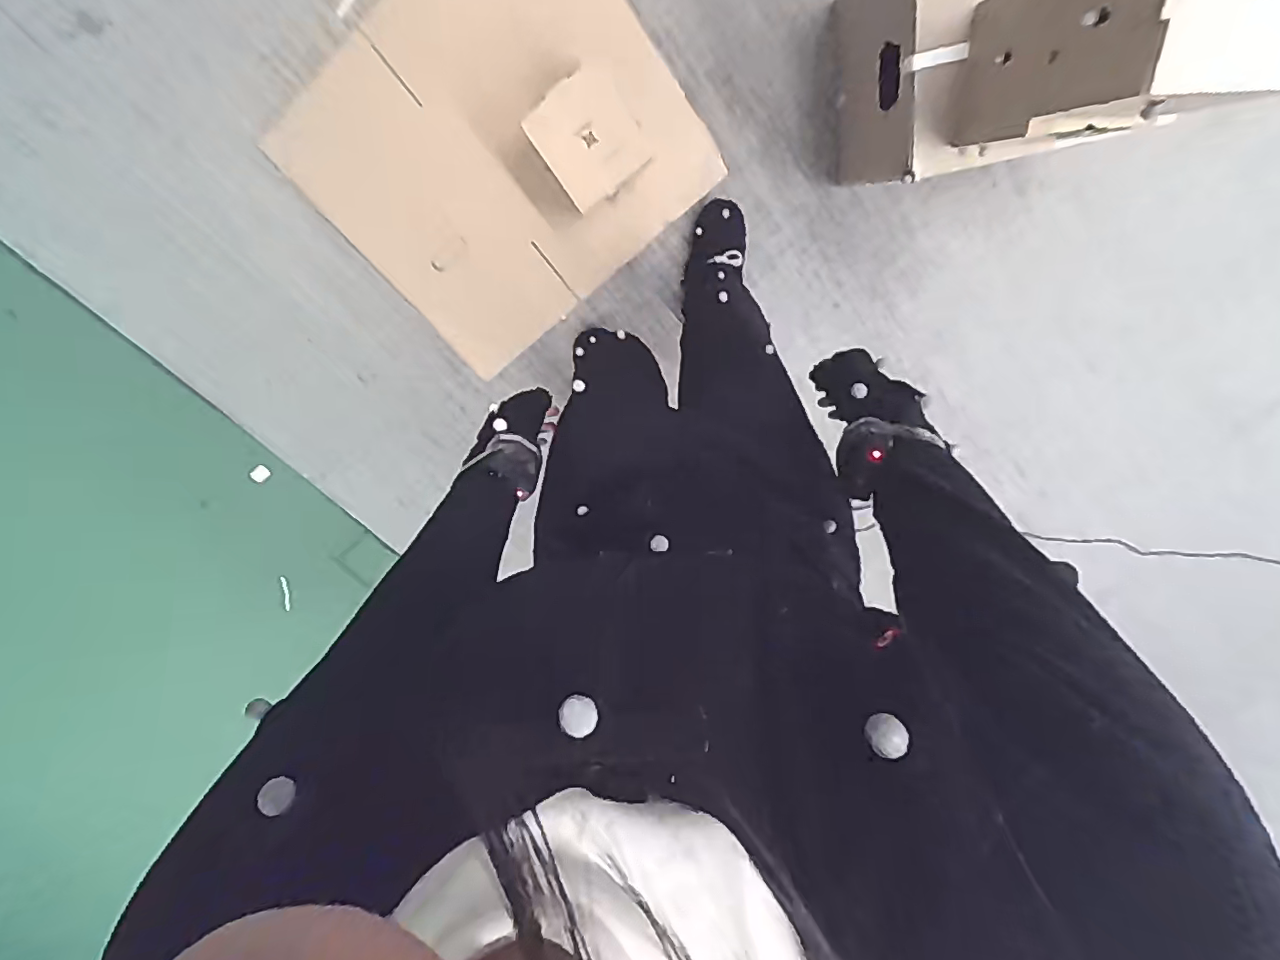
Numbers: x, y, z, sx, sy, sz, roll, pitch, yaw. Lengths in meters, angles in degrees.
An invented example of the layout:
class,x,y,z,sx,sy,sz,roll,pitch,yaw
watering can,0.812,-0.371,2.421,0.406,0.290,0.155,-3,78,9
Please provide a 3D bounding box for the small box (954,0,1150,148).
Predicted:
class,x,y,z,sx,sy,sz,roll,pitch,yaw
small box,0.552,-0.551,0.720,0.168,0.176,0.179,-5,116,0

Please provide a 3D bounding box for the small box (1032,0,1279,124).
class,x,y,z,sx,sy,sz,roll,pitch,yaw
small box,0.563,-0.492,0.570,0.179,0.176,0.168,-6,114,0

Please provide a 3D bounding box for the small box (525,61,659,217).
class,x,y,z,sx,sy,sz,roll,pitch,yaw
small box,-0.084,-0.610,0.996,0.168,0.176,0.179,-34,113,15
